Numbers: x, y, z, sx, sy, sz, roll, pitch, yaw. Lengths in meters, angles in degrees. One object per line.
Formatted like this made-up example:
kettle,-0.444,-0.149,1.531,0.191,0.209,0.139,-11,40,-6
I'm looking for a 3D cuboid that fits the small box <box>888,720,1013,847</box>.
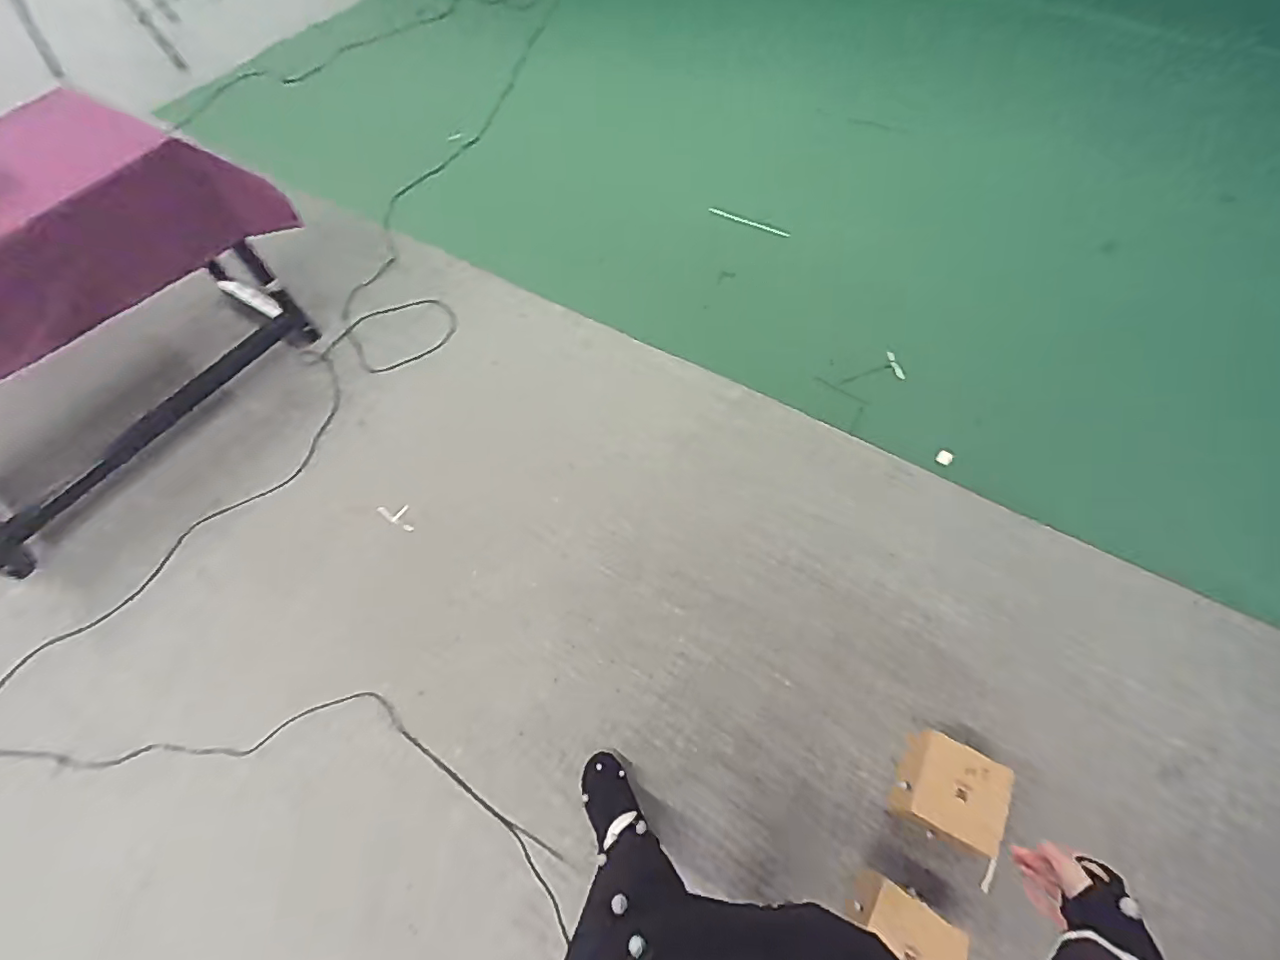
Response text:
small box,0.662,0.654,1.172,0.168,0.176,0.179,25,64,17
